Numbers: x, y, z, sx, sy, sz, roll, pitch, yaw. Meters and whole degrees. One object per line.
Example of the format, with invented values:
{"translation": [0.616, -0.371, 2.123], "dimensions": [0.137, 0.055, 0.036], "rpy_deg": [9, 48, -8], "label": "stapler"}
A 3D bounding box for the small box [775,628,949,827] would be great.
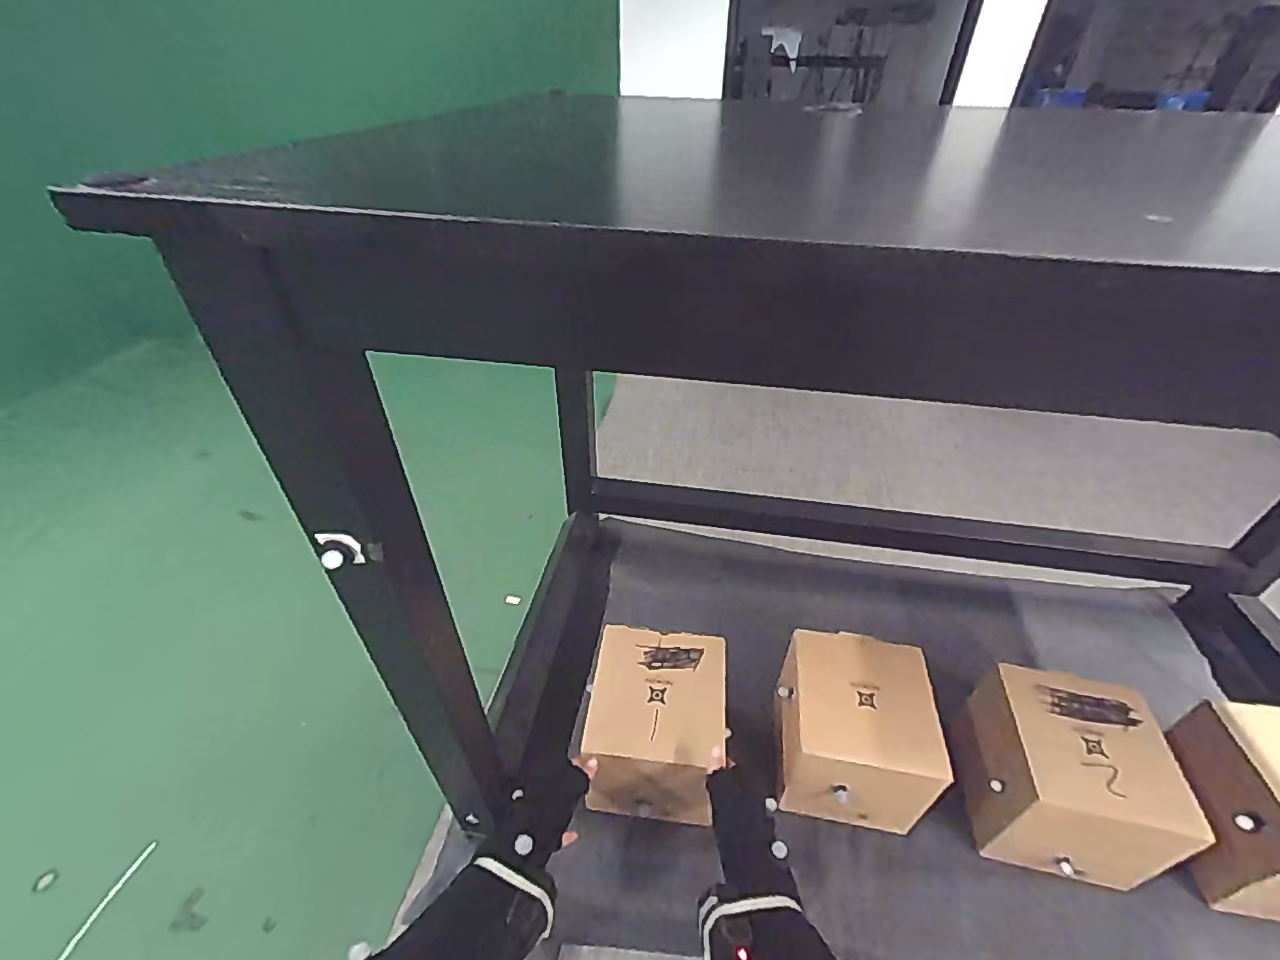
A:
{"translation": [0.279, 0.329, 0.722], "dimensions": [0.168, 0.176, 0.179], "rpy_deg": [7, 38, 7], "label": "small box"}

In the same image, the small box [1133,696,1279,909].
{"translation": [0.761, 0.393, 0.645], "dimensions": [0.168, 0.176, 0.179], "rpy_deg": [7, 38, 7], "label": "small box"}

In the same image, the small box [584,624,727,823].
{"translation": [0.024, 0.322, 0.723], "dimensions": [0.168, 0.176, 0.179], "rpy_deg": [5, 39, 5], "label": "small box"}
